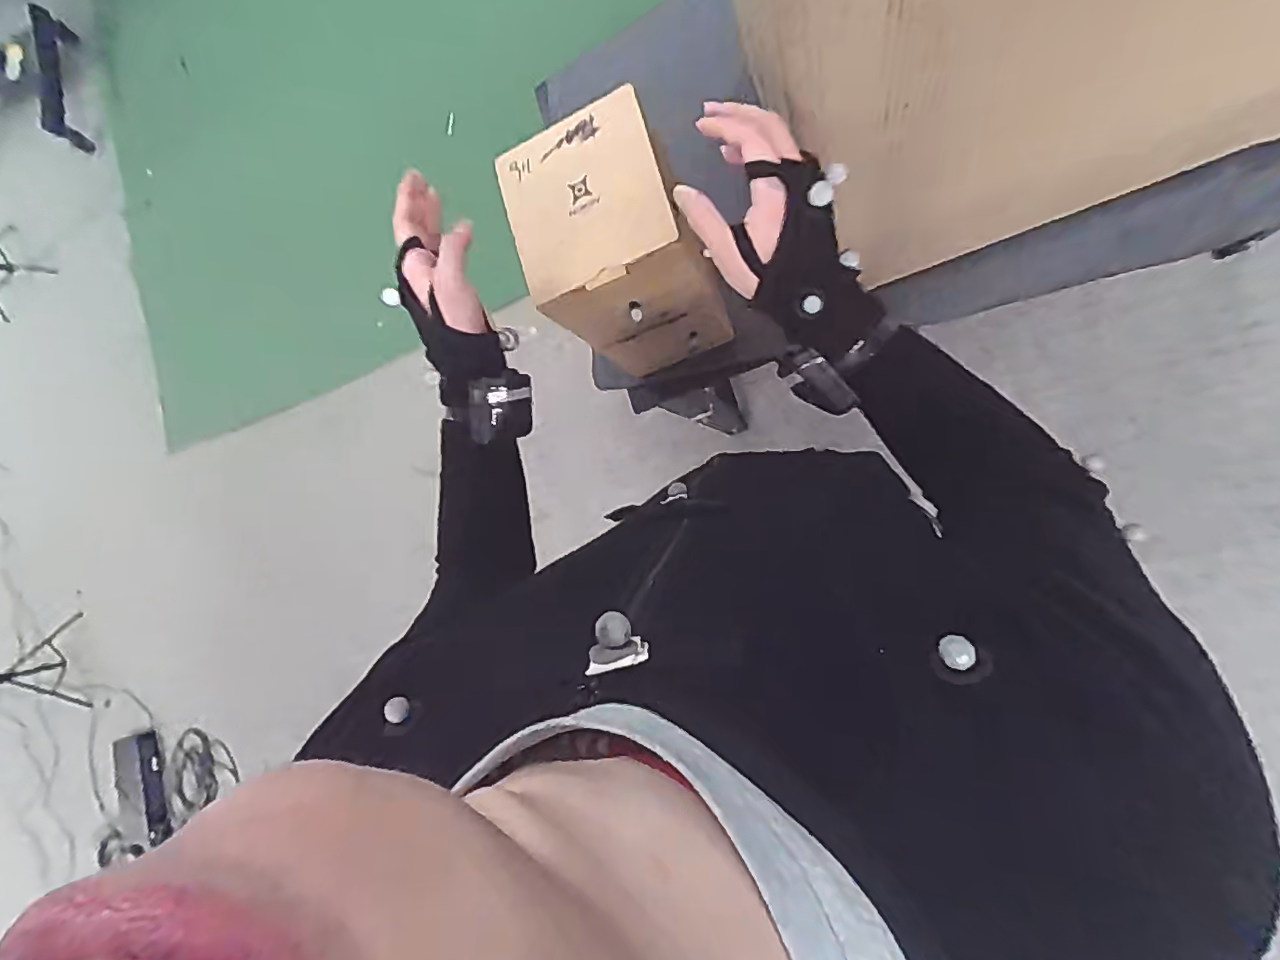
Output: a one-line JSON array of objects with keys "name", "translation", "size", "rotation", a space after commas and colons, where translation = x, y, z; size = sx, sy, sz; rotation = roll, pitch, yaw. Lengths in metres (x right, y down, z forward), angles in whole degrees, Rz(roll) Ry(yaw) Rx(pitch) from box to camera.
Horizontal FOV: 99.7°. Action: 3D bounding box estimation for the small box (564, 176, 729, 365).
[{"name": "small box", "translation": [0.018, -0.280, 0.777], "size": [0.168, 0.176, 0.179], "rotation": [-19, 81, 17]}]
